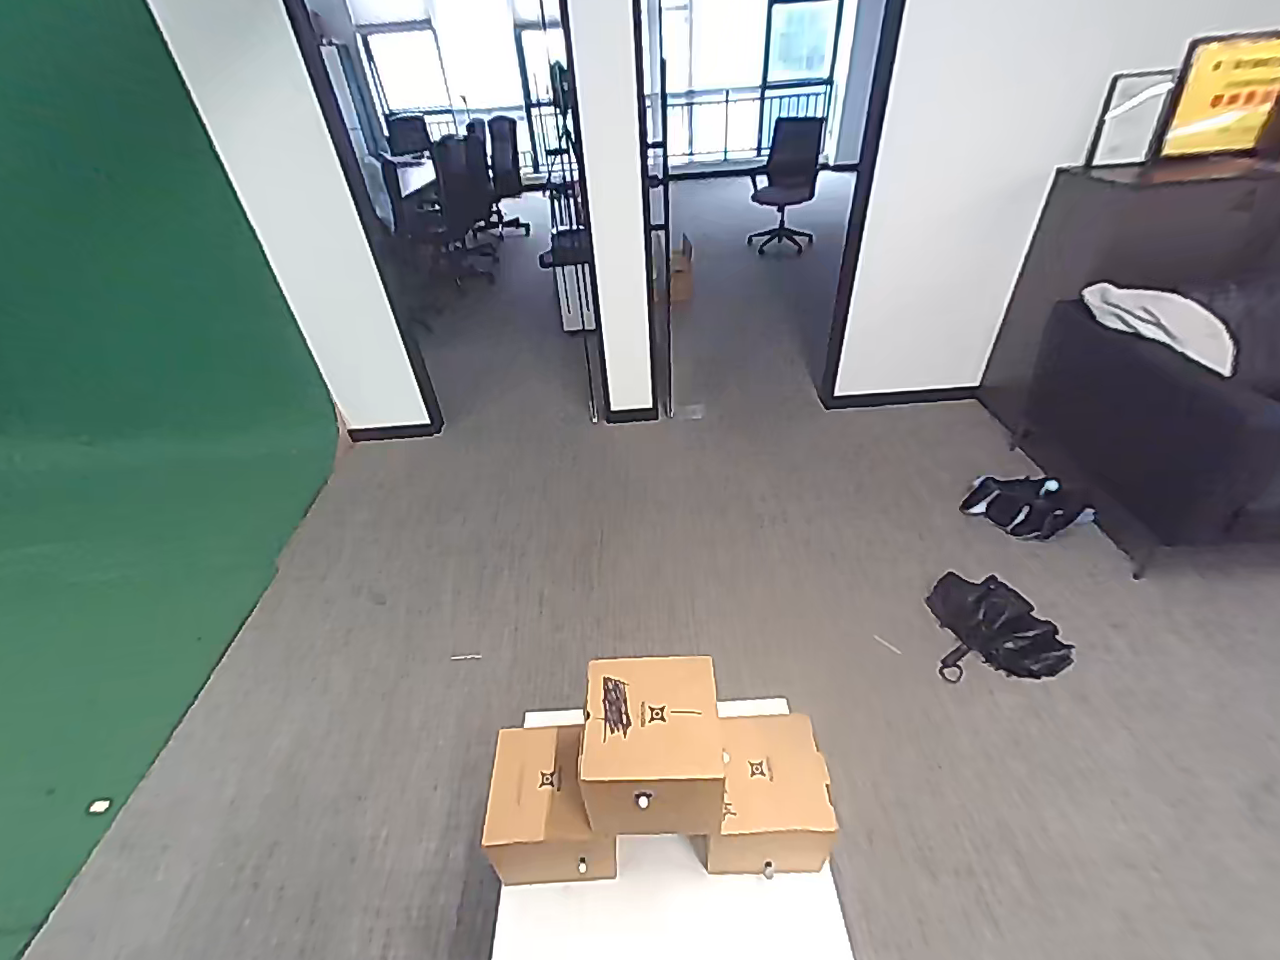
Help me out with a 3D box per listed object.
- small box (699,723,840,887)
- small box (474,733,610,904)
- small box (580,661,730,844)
[{"bbox_3d":[0.178,0.494,0.824,0.179,0.176,0.168,-3,37,0],"label":"small box"},{"bbox_3d":[-0.134,0.506,0.813,0.179,0.176,0.168,-4,36,-3],"label":"small box"},{"bbox_3d":[0.019,0.365,0.725,0.179,0.176,0.168,-1,37,0],"label":"small box"}]
